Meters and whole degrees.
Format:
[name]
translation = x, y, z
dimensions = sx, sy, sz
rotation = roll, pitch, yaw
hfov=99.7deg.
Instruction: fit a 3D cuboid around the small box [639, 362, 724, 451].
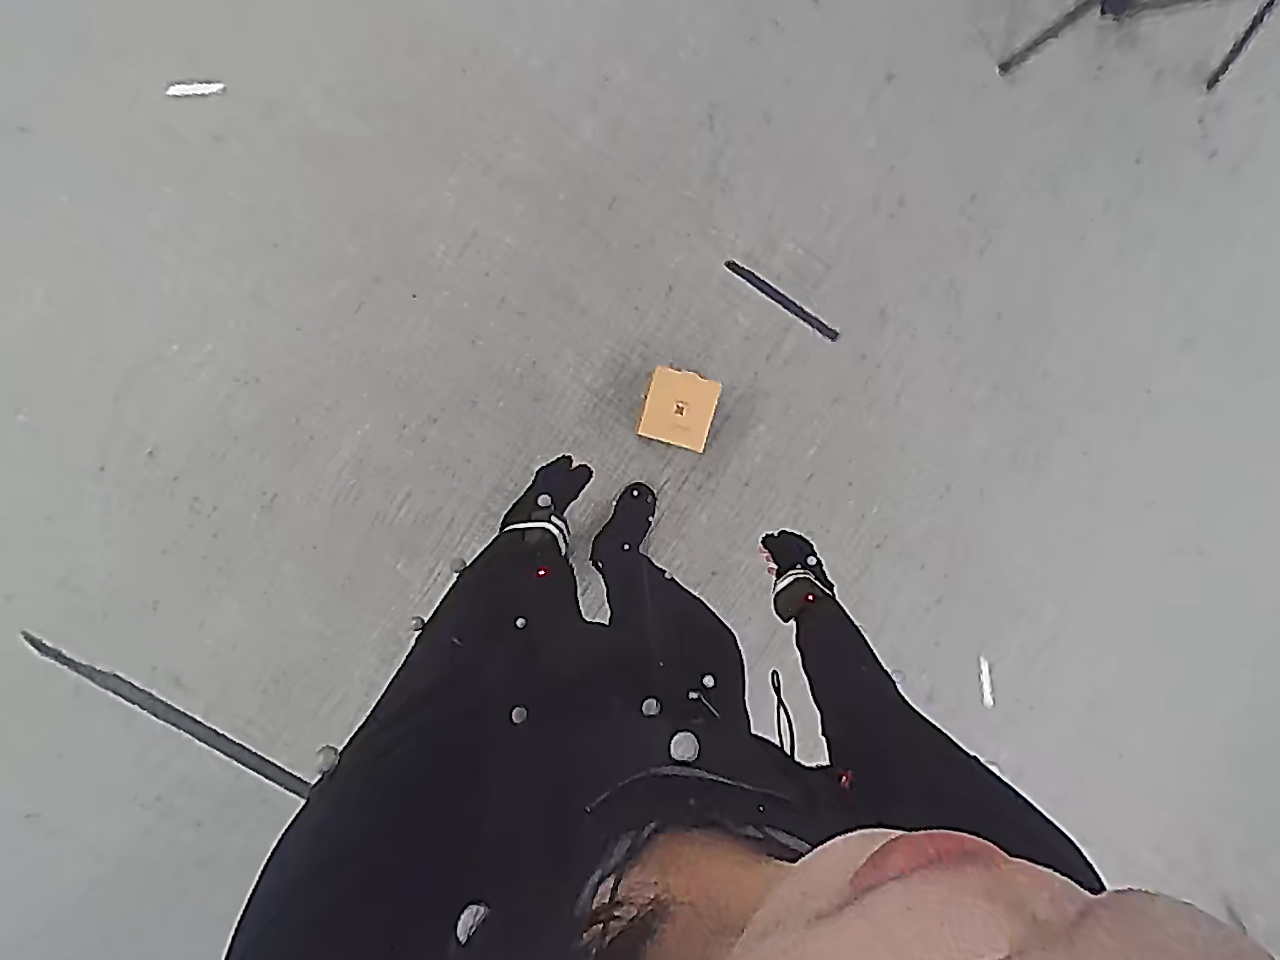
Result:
[small box]
translation = 0.097, -0.181, 1.362
dimensions = 0.168, 0.176, 0.179
rotation = 16, 95, -4
